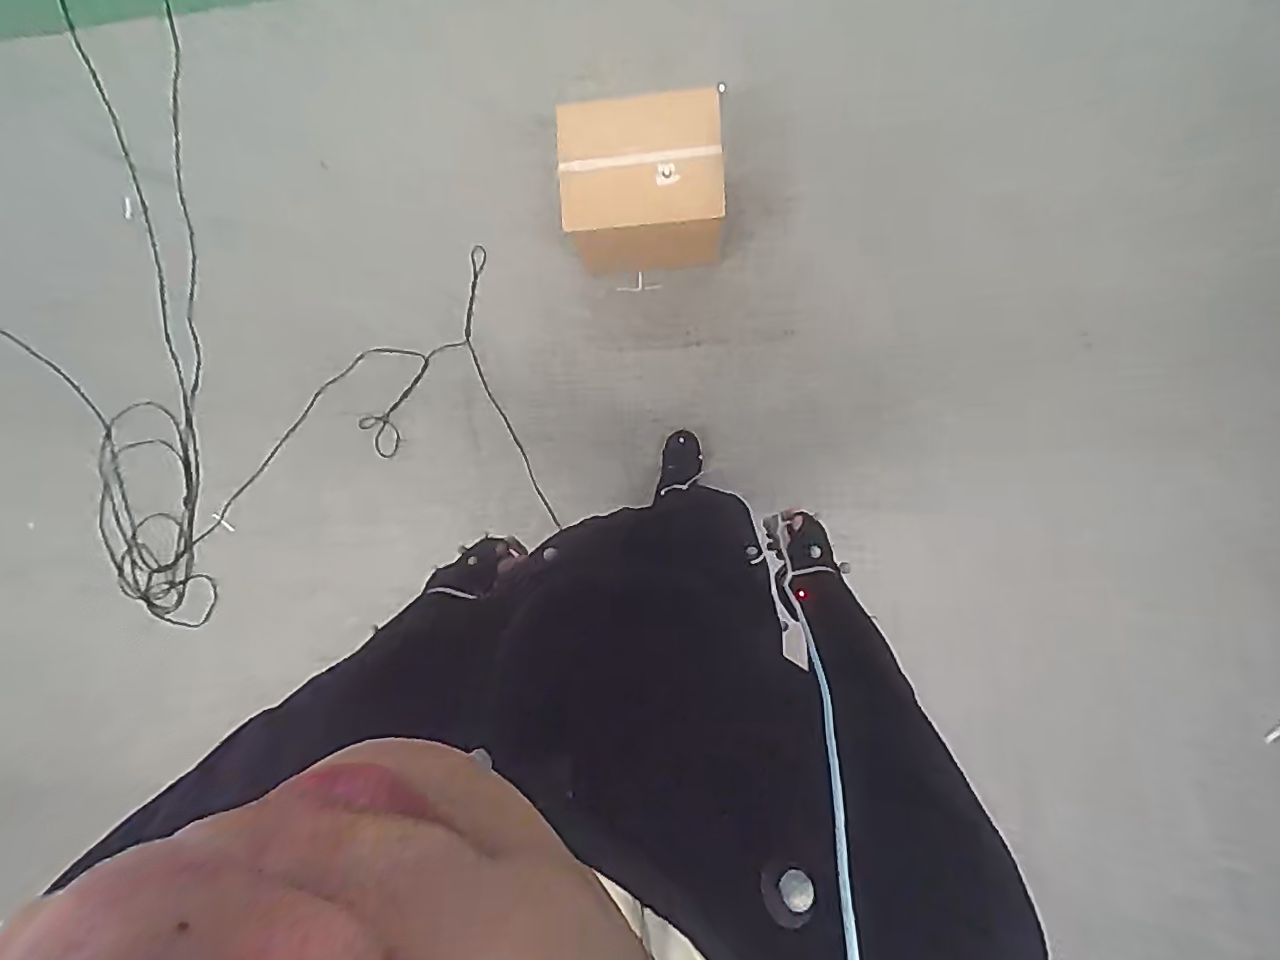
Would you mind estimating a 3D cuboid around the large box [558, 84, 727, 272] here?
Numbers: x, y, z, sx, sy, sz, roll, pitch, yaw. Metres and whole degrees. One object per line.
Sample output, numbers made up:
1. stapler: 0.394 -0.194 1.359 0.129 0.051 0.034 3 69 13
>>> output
1. large box: 0.017 -0.791 1.471 0.408 0.320 0.320 -3 91 6
